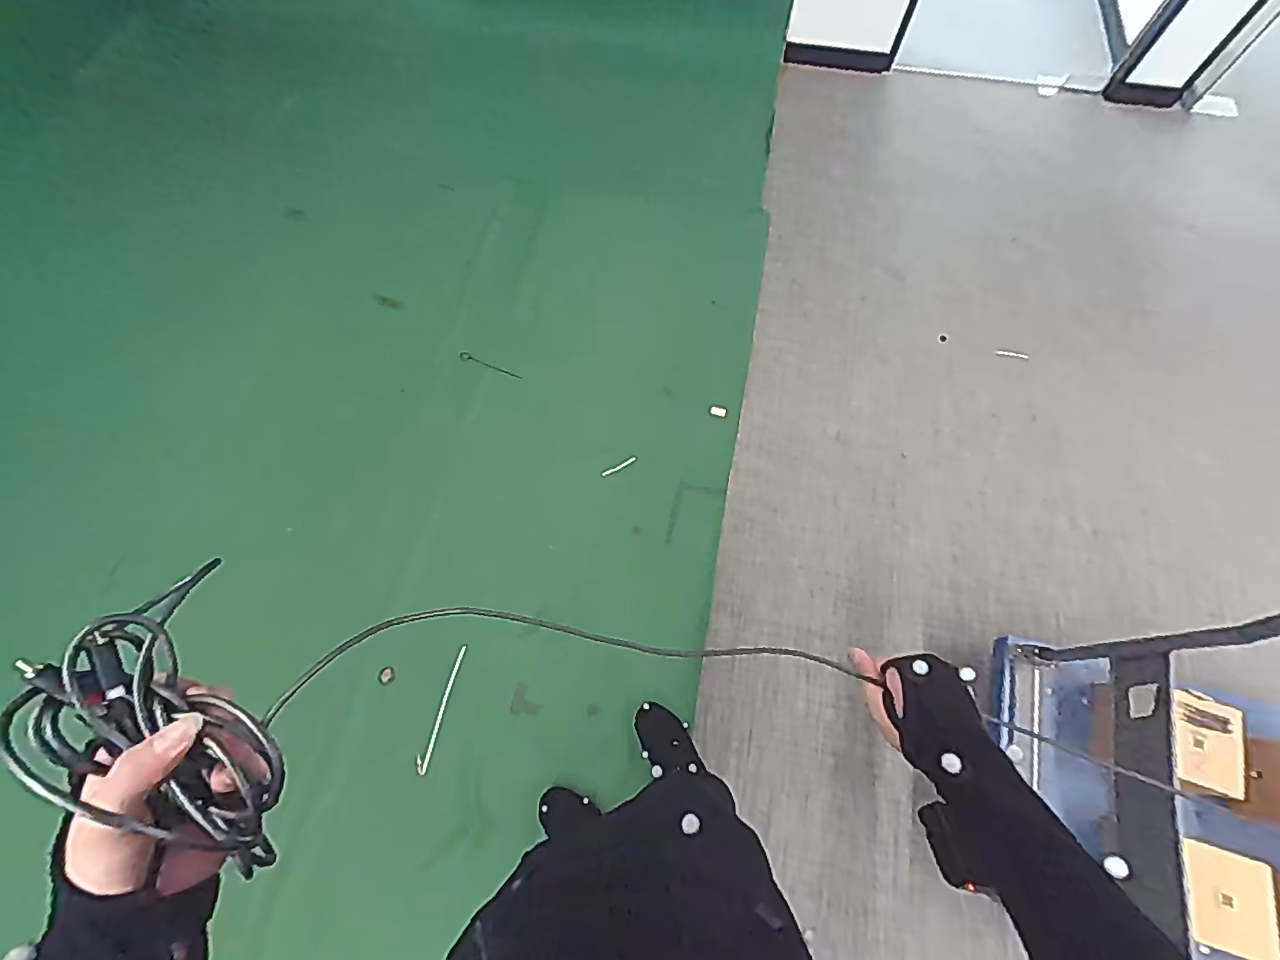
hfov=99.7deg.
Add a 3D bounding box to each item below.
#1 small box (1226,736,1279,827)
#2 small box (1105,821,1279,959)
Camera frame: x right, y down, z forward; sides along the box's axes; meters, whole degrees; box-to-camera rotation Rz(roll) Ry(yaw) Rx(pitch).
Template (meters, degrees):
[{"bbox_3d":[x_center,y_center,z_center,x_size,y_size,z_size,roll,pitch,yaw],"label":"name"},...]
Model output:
[{"bbox_3d":[1.380,0.638,1.118,0.179,0.176,0.168,12,69,5],"label":"small box"},{"bbox_3d":[1.067,0.795,1.057,0.179,0.176,0.168,16,69,7],"label":"small box"}]
